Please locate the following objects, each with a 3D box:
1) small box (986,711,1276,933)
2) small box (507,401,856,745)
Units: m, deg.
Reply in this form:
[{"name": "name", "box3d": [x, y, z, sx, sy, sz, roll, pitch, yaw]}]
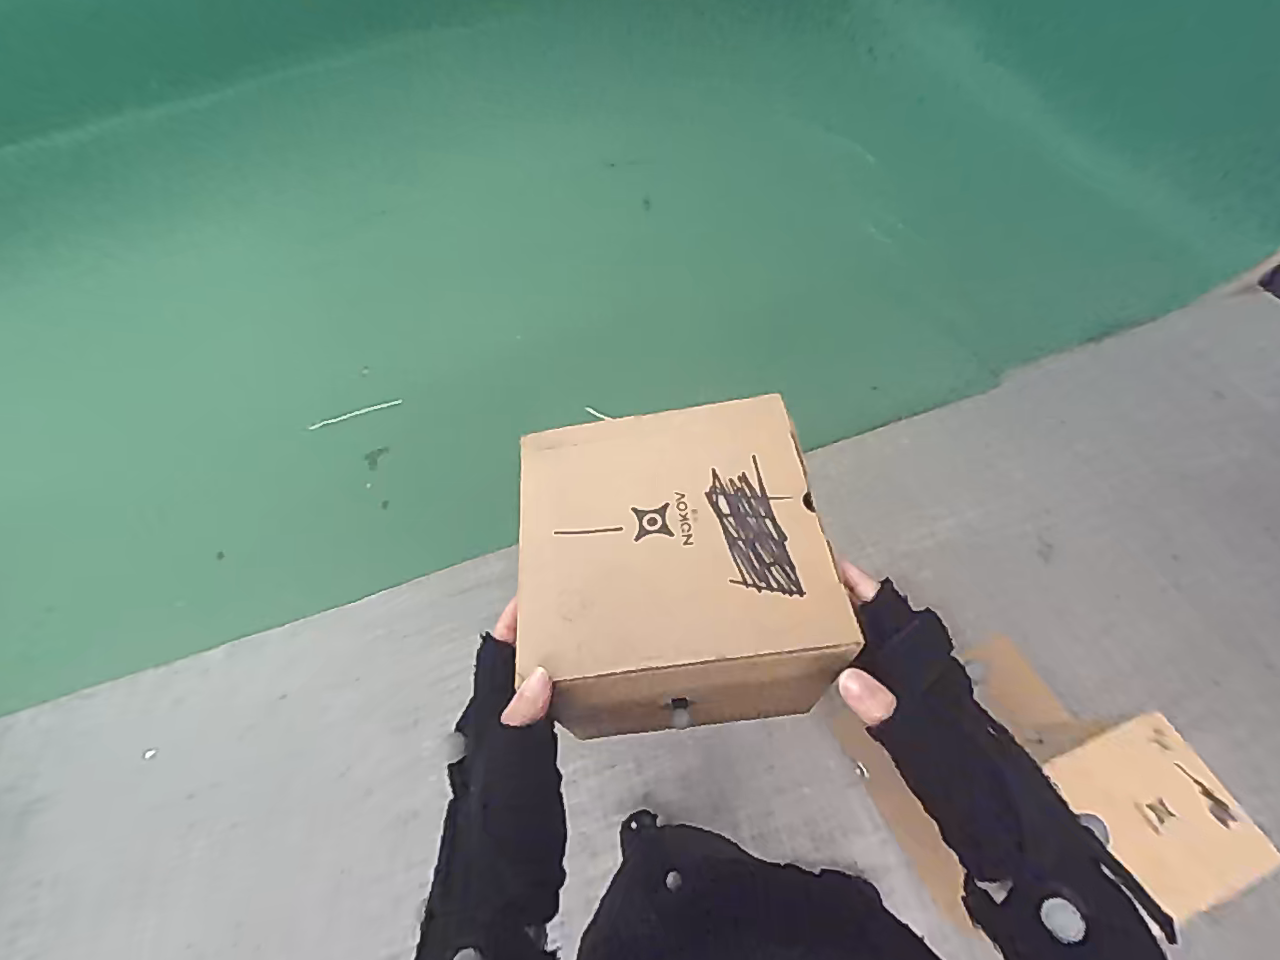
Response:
[{"name": "small box", "box3d": [0.569, 0.408, 0.667, 0.179, 0.176, 0.168, -23, 61, -4]}, {"name": "small box", "box3d": [0.016, 0.072, 0.374, 0.179, 0.176, 0.168, -10, 56, -2]}]
